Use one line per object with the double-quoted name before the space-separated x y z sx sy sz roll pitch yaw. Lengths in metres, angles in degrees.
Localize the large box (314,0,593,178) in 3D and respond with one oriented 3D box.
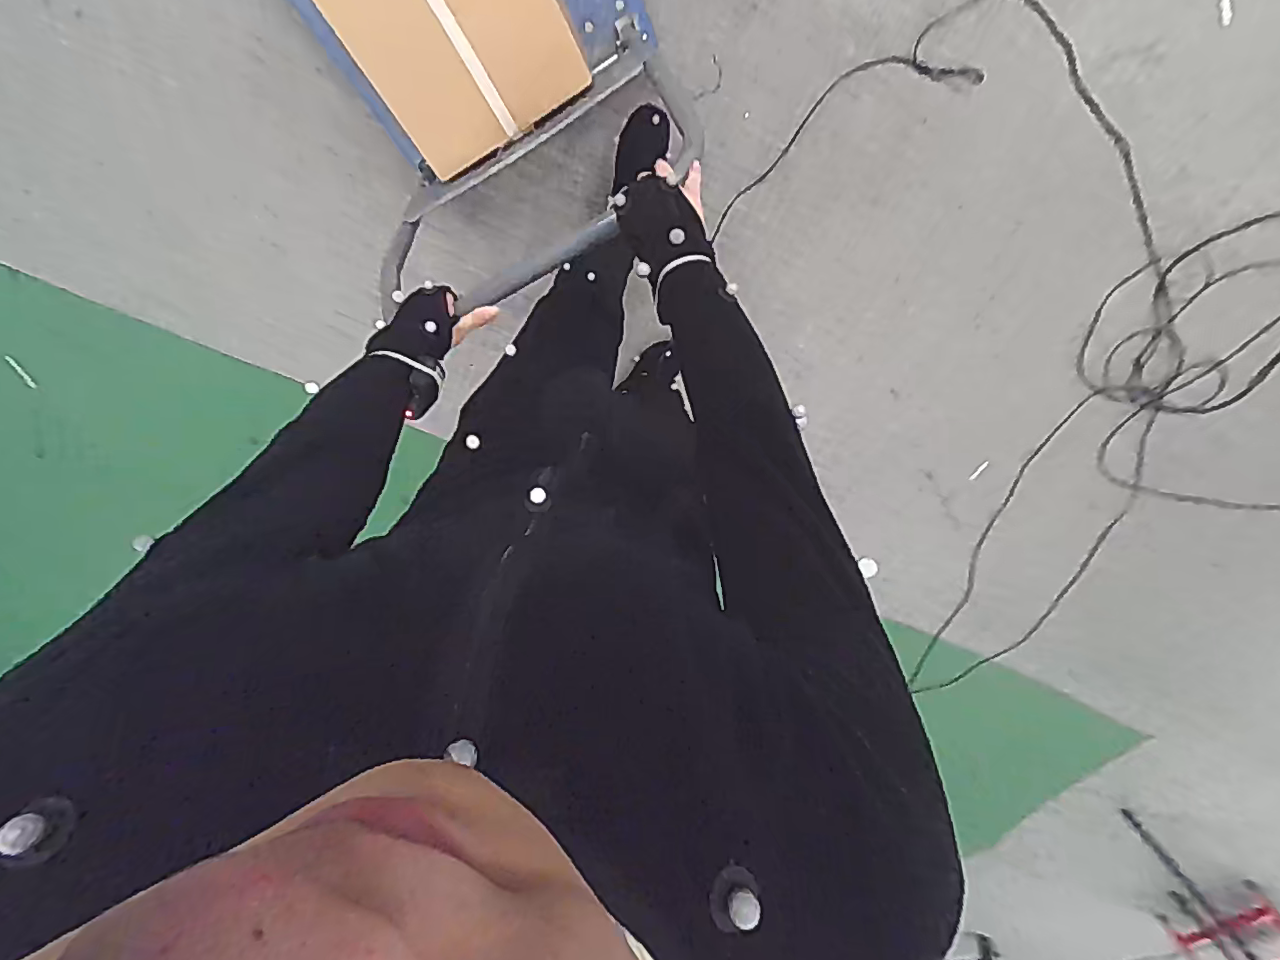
"large box" -0.310 -0.807 0.893 0.320 0.320 0.408 -24 131 15
